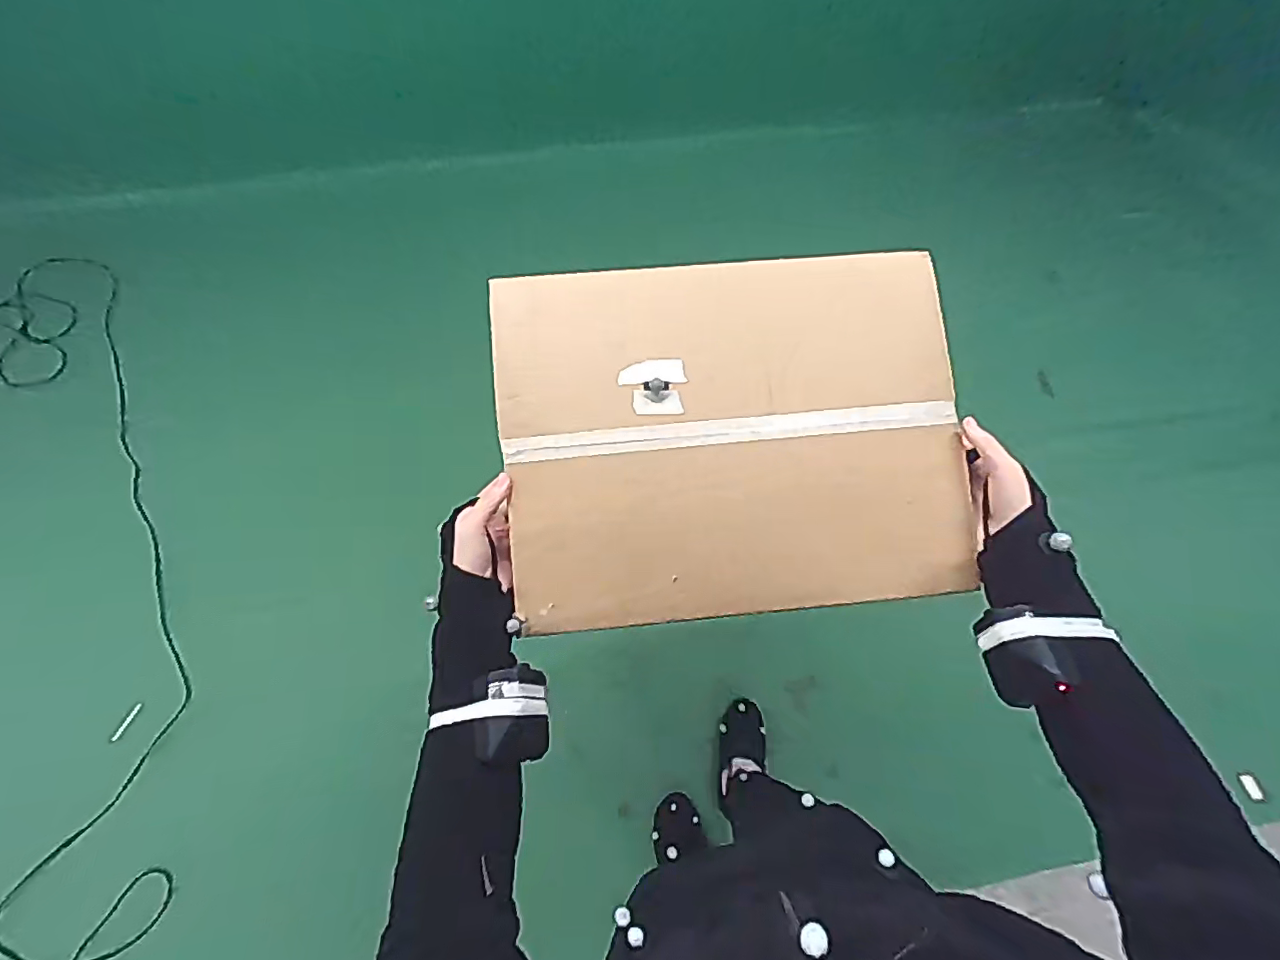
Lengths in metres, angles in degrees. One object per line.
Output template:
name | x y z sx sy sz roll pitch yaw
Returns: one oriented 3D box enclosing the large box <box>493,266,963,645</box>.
large box | 0.075 -0.015 0.640 0.408 0.320 0.320 -6 83 -2
